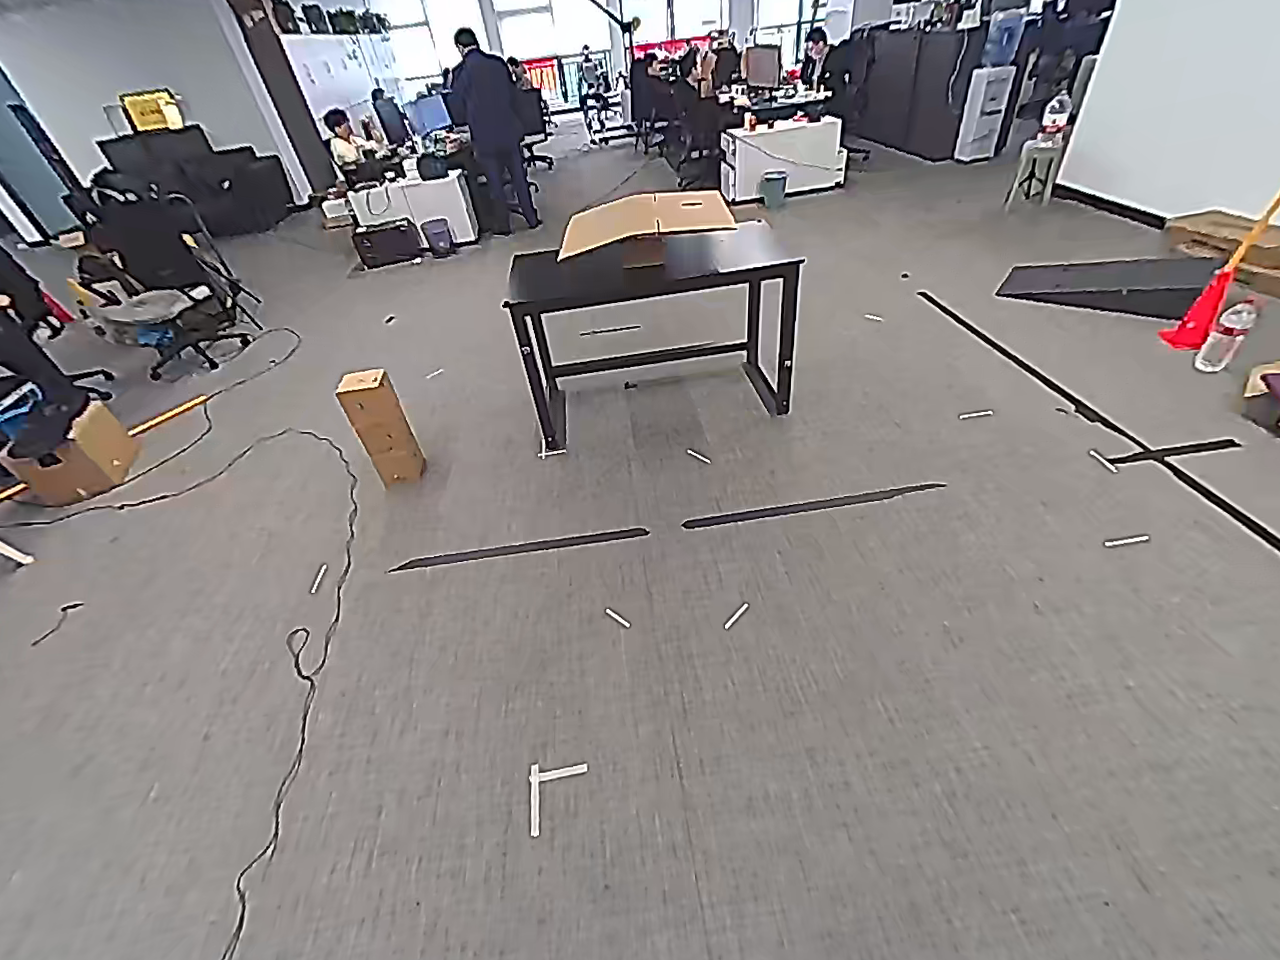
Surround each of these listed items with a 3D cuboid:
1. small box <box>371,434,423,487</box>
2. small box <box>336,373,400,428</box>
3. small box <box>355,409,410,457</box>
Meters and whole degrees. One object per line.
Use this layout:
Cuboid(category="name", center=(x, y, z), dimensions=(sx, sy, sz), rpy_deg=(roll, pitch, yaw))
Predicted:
Cuboid(category="small box", center=(-1.138, -0.091, 2.547), dimensions=(0.168, 0.176, 0.179), rpy_deg=(-11, 41, -3))
Cuboid(category="small box", center=(-1.173, -0.341, 2.341), dimensions=(0.179, 0.176, 0.168), rpy_deg=(-11, 40, -4))
Cuboid(category="small box", center=(-1.160, -0.217, 2.448), dimensions=(0.168, 0.176, 0.179), rpy_deg=(-12, 38, -7))
